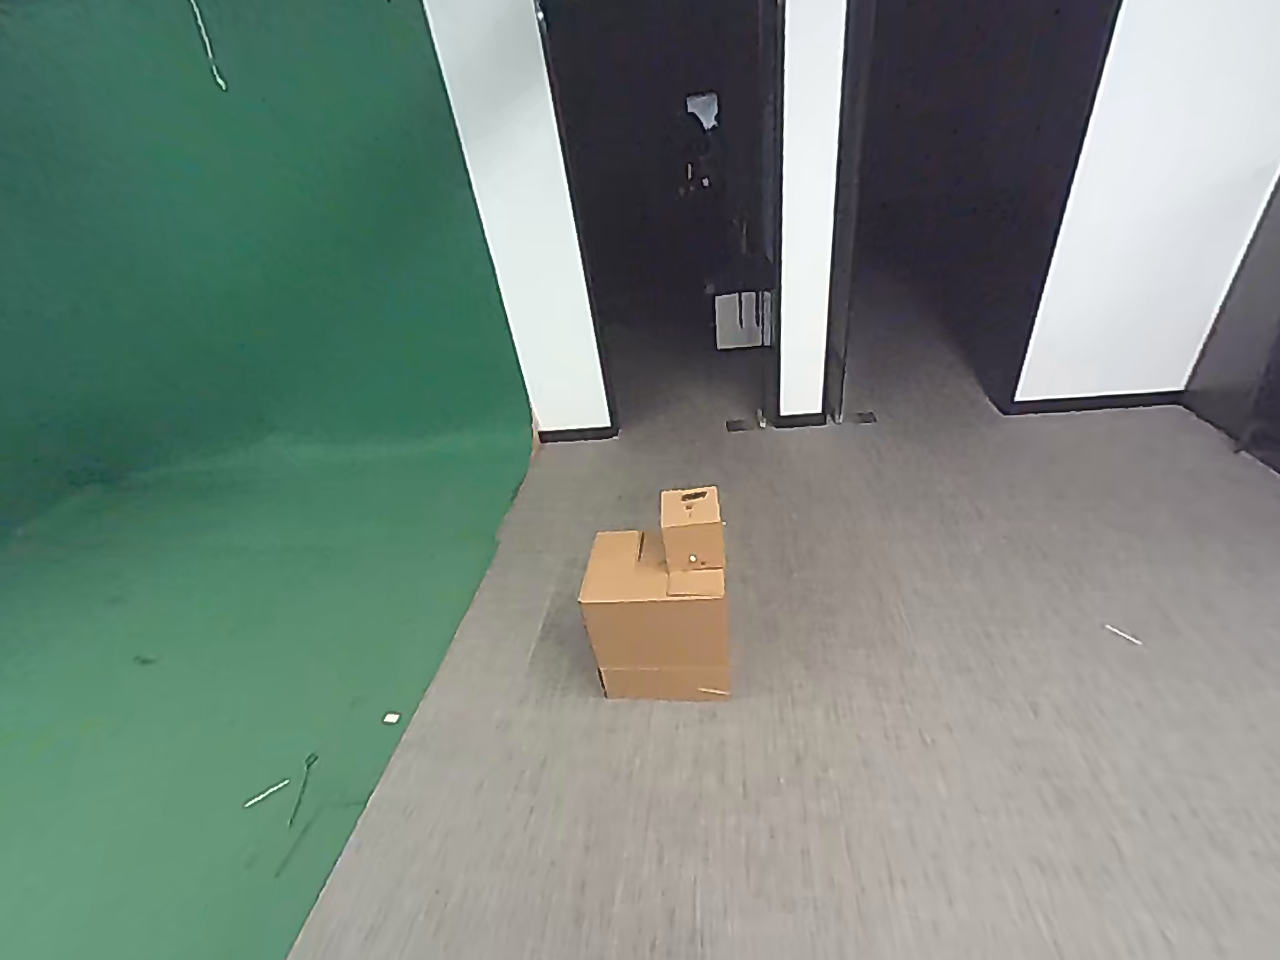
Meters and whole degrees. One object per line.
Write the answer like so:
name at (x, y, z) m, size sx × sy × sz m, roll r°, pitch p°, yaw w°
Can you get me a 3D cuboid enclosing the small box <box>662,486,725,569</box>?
small box at (0.157, 0.139, 1.585) m, size 0.168 × 0.176 × 0.179 m, roll -7°, pitch 34°, yaw 8°
